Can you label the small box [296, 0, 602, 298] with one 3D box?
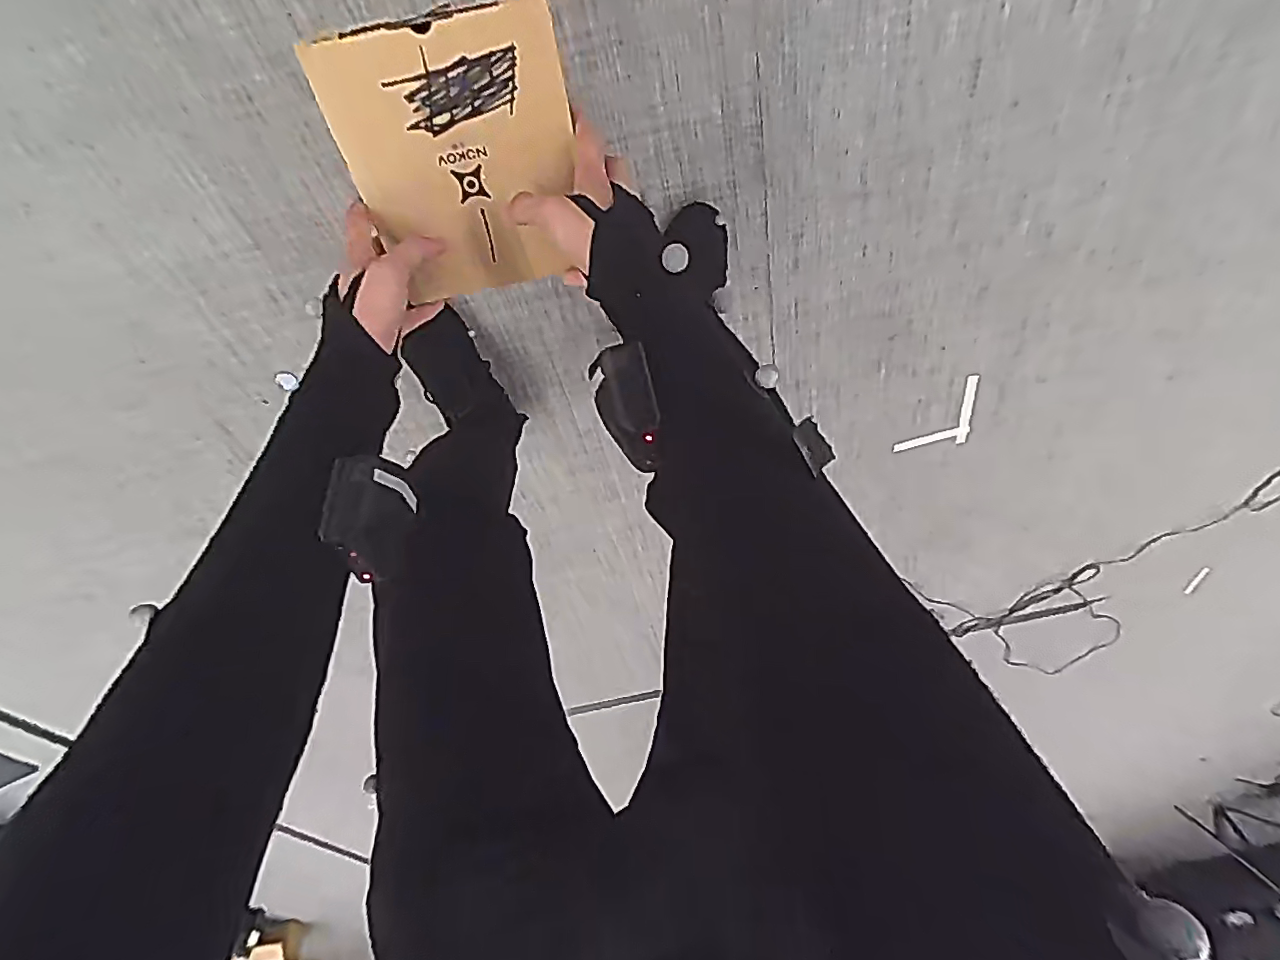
[{"bbox_3d":[-0.133,-0.279,0.446,0.168,0.176,0.179,-11,132,1],"label":"small box"}]
